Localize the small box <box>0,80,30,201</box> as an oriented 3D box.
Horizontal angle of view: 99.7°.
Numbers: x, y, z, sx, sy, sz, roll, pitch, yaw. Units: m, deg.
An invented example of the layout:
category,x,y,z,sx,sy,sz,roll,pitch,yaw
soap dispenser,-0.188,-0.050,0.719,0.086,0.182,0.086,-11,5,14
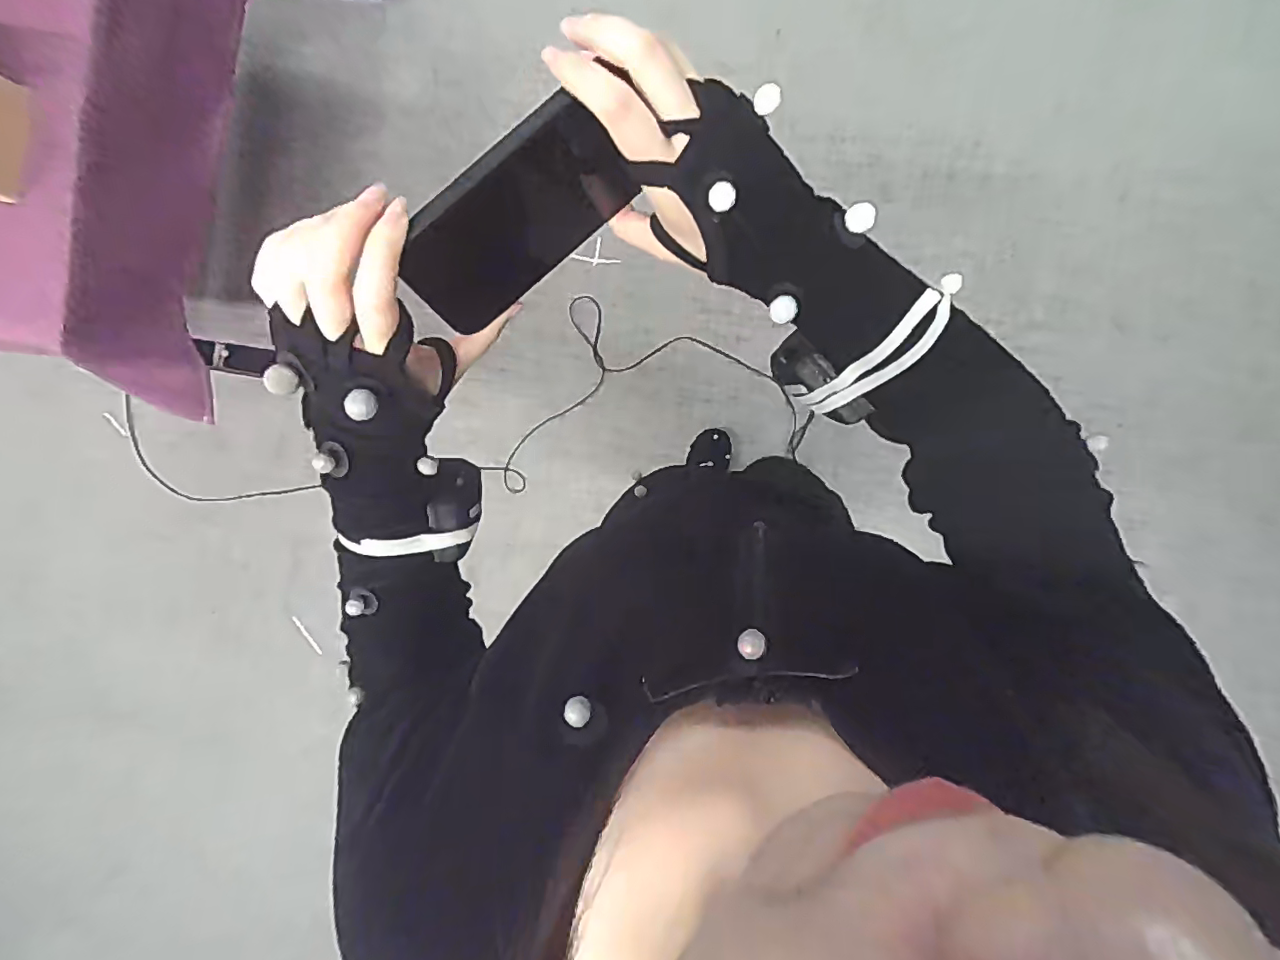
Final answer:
category,x,y,z,sx,sy,sz,roll,pitch,yaw
small box,-1.041,-0.528,0.770,0.168,0.176,0.179,11,93,5
